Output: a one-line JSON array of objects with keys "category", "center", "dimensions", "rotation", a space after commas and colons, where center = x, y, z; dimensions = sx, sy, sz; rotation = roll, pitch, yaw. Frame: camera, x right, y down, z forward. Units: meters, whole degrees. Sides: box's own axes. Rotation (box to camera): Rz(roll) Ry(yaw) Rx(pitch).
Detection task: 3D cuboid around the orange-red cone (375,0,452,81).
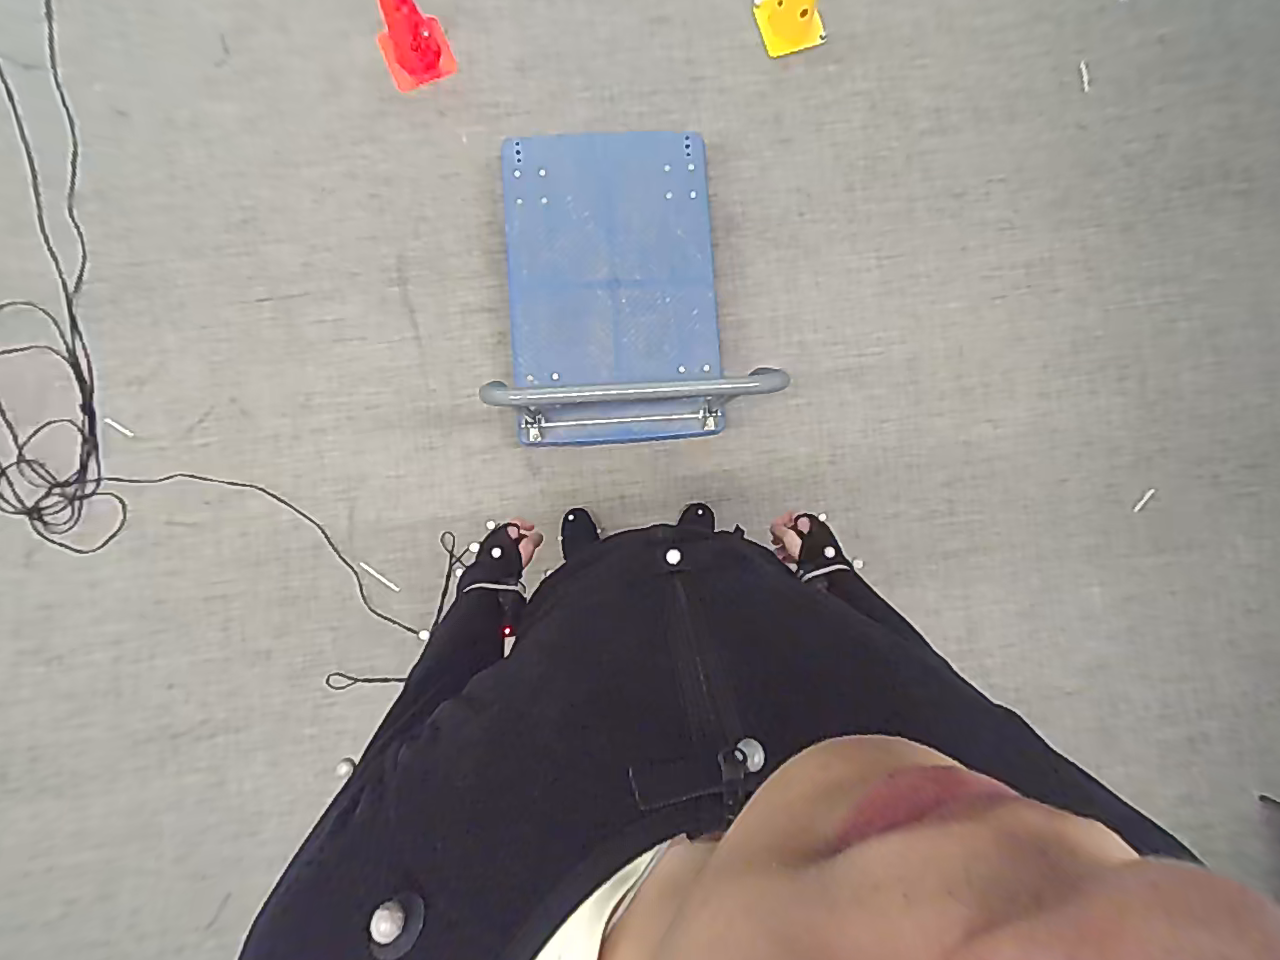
[{"category": "orange-red cone", "center": [-0.692, -1.349, 1.495], "dimensions": [0.199, 0.360, 0.198], "rotation": [-22, 88, -2]}]
